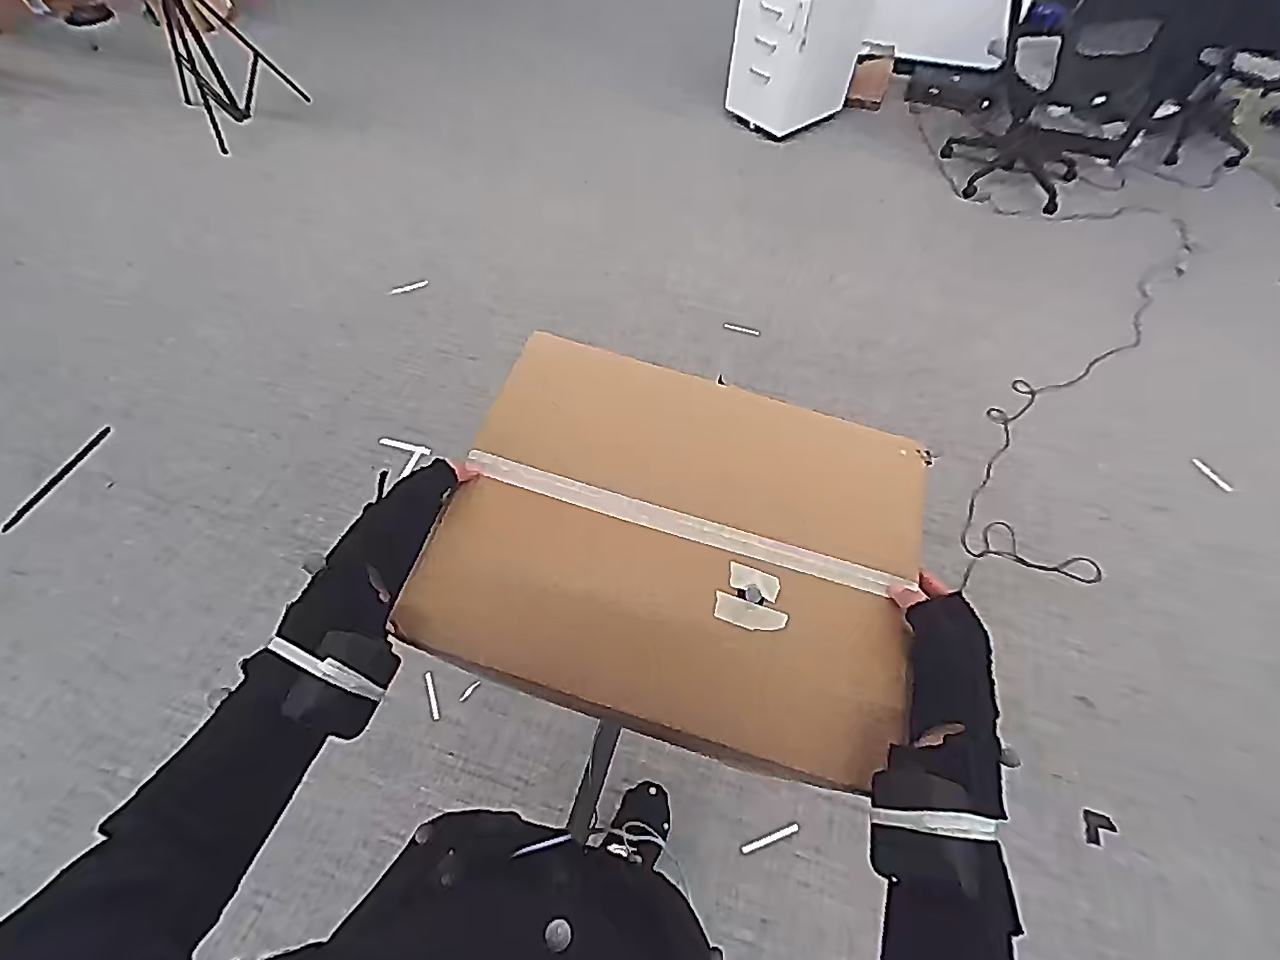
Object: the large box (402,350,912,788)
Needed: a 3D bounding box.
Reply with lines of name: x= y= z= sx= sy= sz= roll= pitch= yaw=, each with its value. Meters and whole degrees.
large box: x=0.026 y=0.112 z=0.614 sx=0.408 sy=0.320 sz=0.320 roll=17 pitch=66 yaw=3
